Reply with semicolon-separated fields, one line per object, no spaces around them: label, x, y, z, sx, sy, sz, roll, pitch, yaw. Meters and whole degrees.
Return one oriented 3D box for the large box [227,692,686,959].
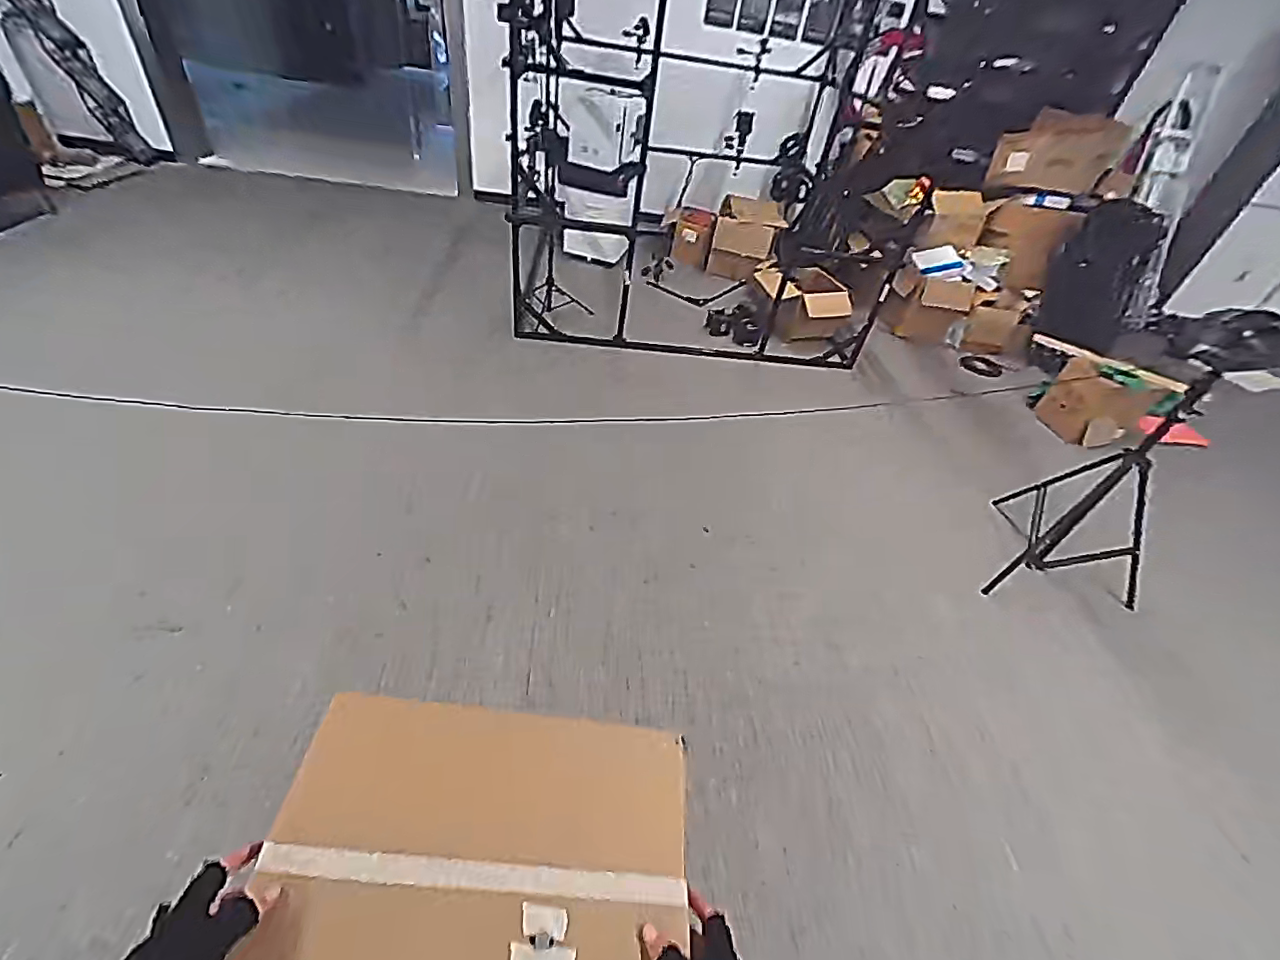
large box;-0.179;0.480;0.630;0.408;0.320;0.320;10;45;-6
